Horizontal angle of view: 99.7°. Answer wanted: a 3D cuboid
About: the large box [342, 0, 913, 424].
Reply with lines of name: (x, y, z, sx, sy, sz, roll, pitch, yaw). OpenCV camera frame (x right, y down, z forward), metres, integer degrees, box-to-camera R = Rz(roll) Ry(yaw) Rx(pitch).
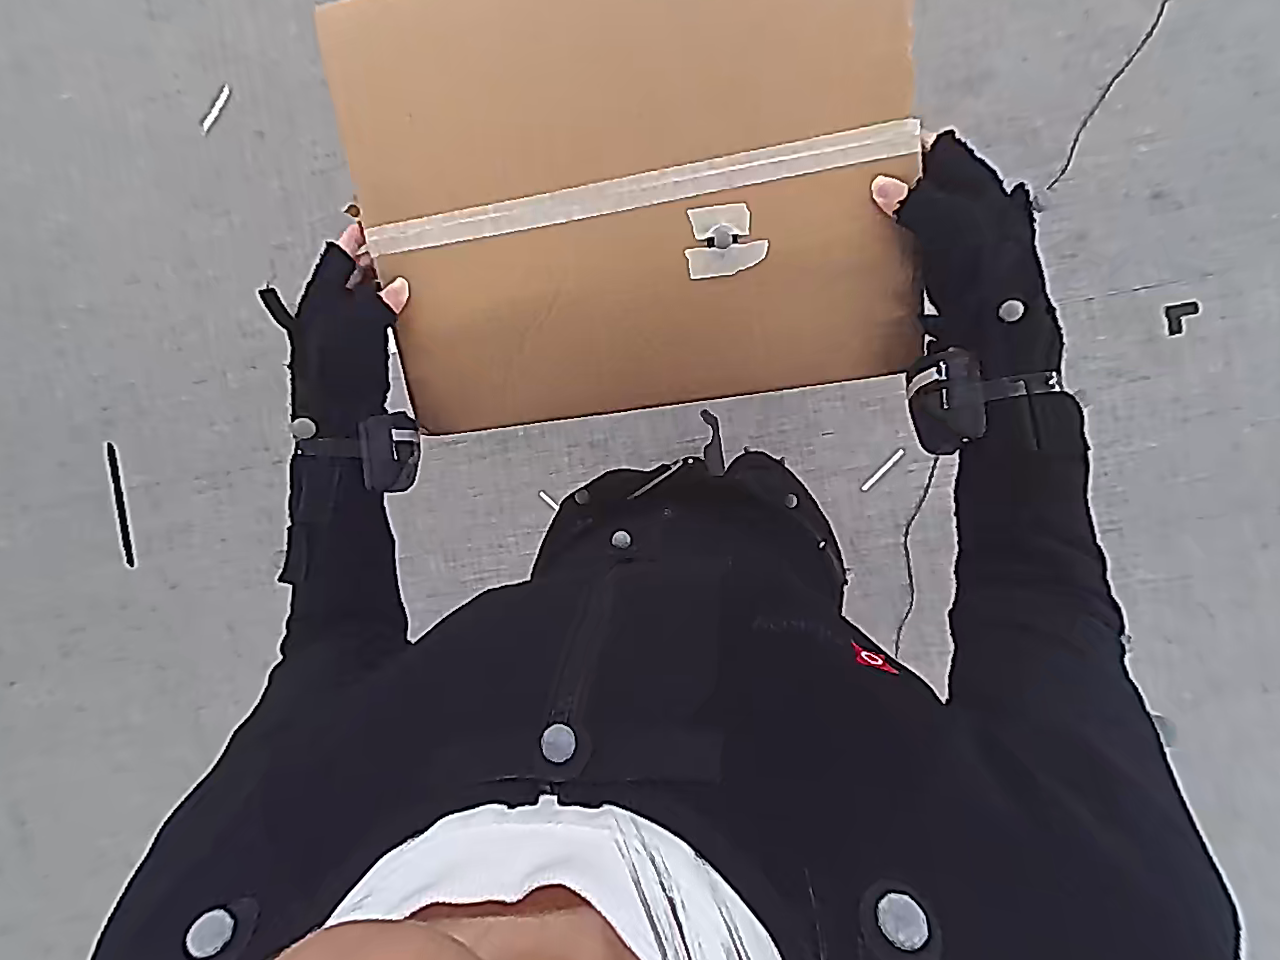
large box: (0.007, -0.257, 0.552, 0.408, 0.320, 0.320, -7, 105, 8)
